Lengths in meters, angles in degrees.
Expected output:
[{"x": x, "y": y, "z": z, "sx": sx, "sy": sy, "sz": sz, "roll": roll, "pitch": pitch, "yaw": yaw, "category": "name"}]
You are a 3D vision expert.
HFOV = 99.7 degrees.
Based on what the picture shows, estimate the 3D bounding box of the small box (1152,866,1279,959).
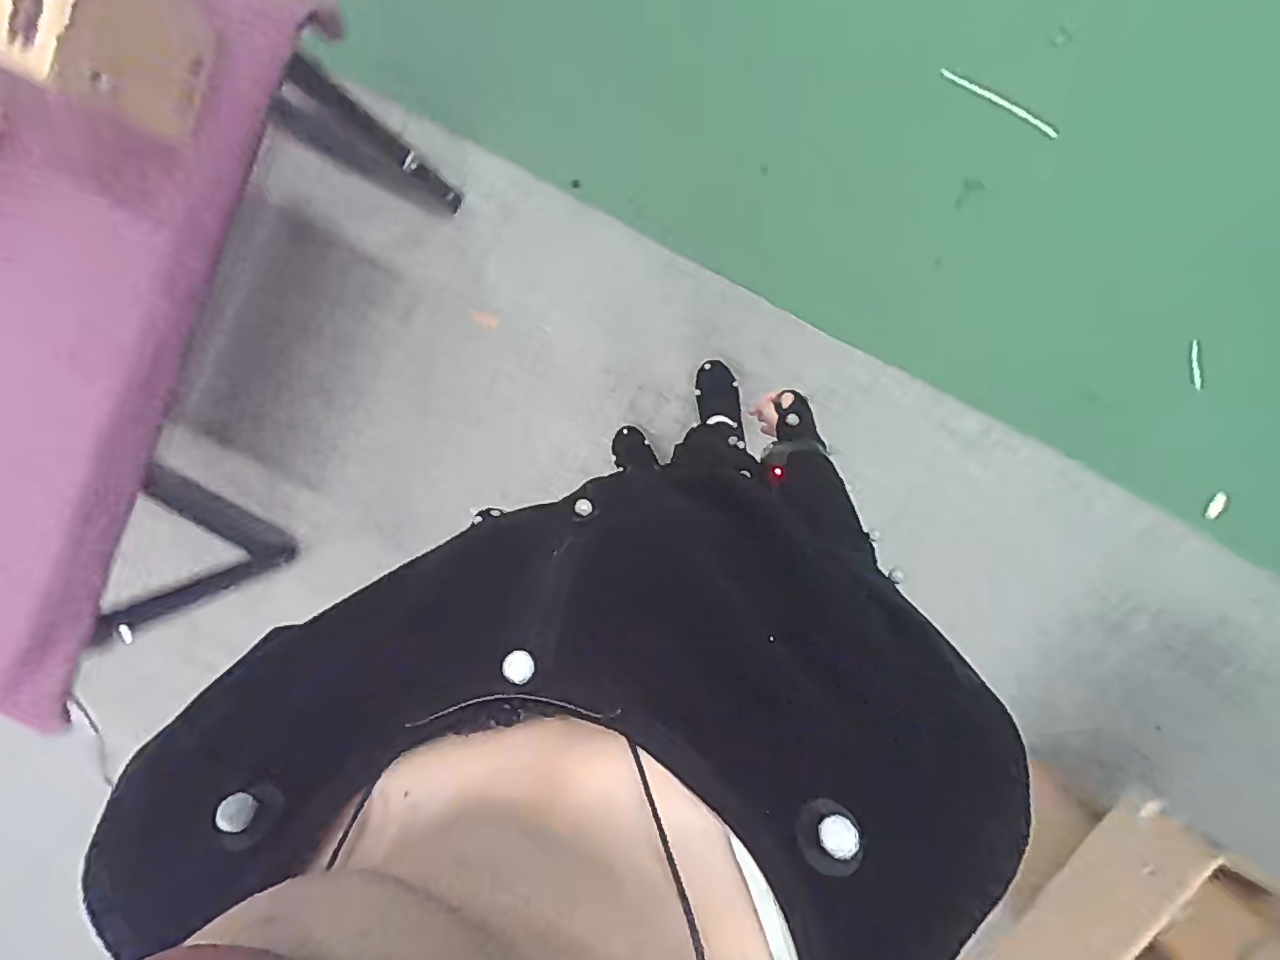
[{"x": 1.180, "y": 0.903, "z": 1.048, "sx": 0.179, "sy": 0.176, "sz": 0.168, "roll": 25, "pitch": 99, "yaw": 1, "category": "small box"}]
